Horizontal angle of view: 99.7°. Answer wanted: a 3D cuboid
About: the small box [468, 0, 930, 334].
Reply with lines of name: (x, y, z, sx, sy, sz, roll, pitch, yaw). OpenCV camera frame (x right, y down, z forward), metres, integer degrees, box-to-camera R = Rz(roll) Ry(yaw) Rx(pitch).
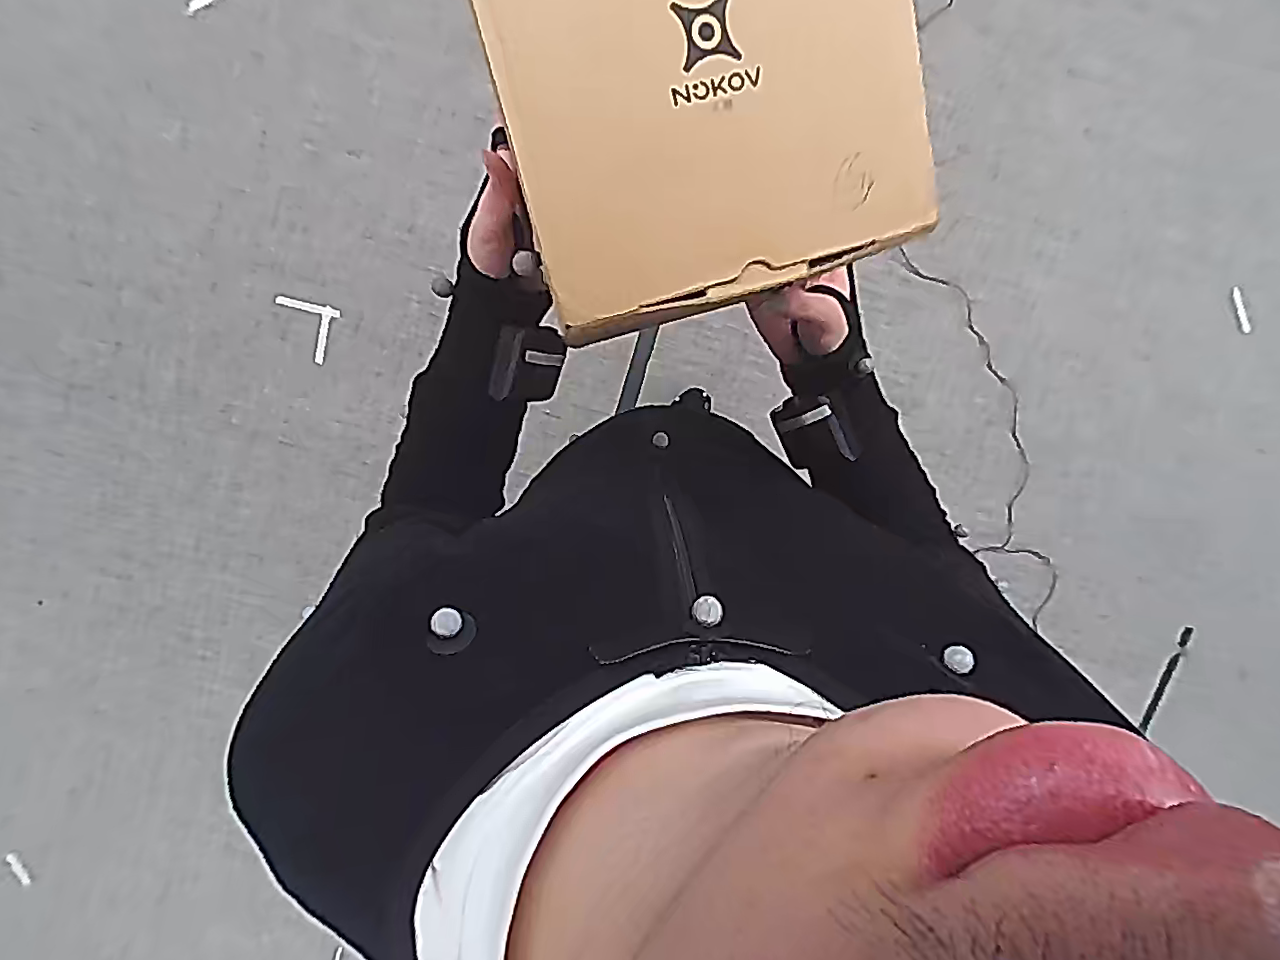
small box: (0.017, -0.185, 0.292, 0.168, 0.176, 0.179, -19, 102, -3)
